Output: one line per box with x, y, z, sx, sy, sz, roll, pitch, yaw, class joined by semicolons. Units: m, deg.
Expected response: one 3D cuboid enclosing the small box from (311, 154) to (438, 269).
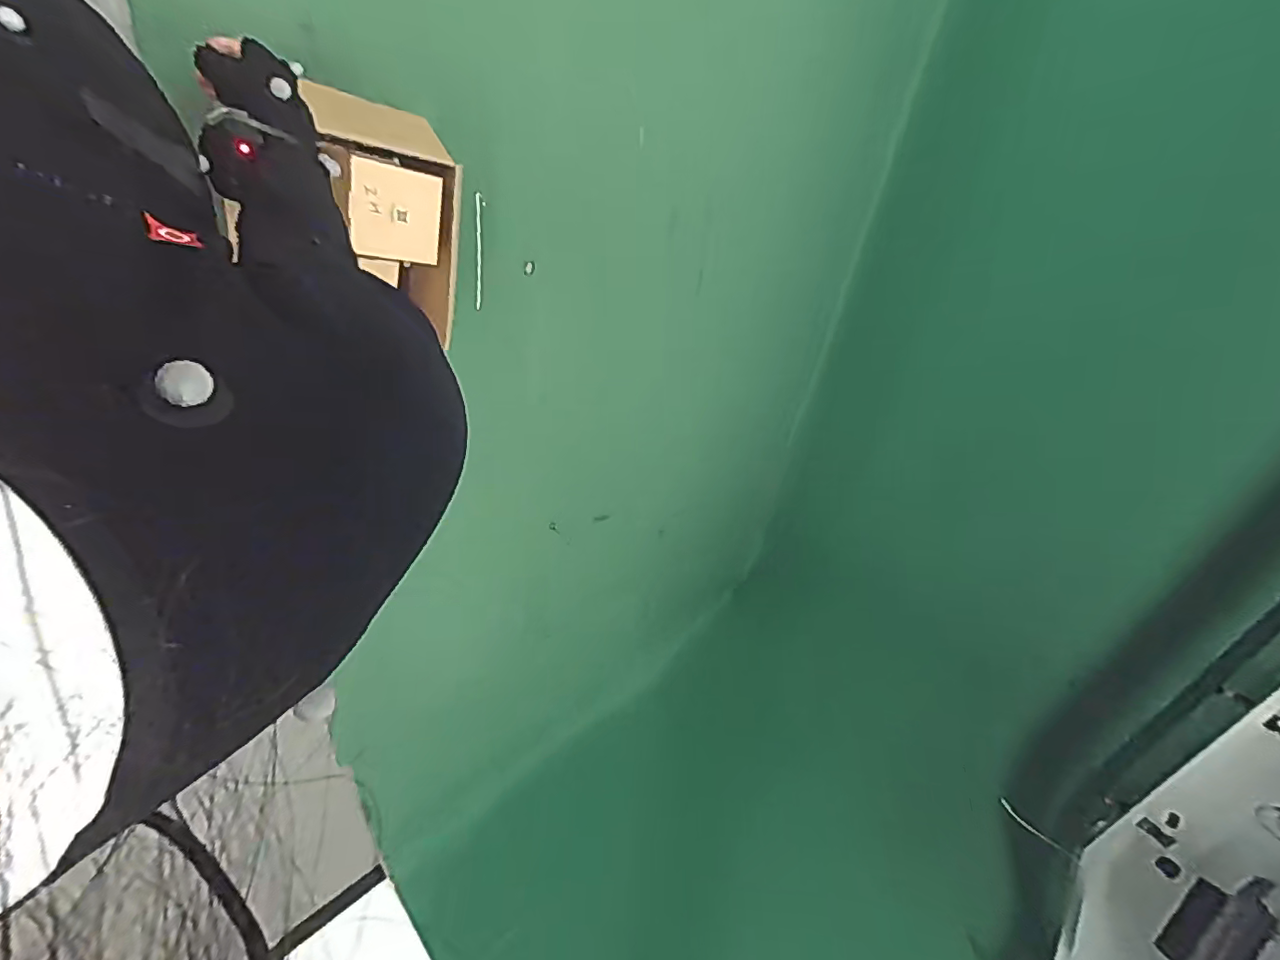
-0.534;-0.538;1.087;0.179;0.176;0.168;-13;125;-47;small box
